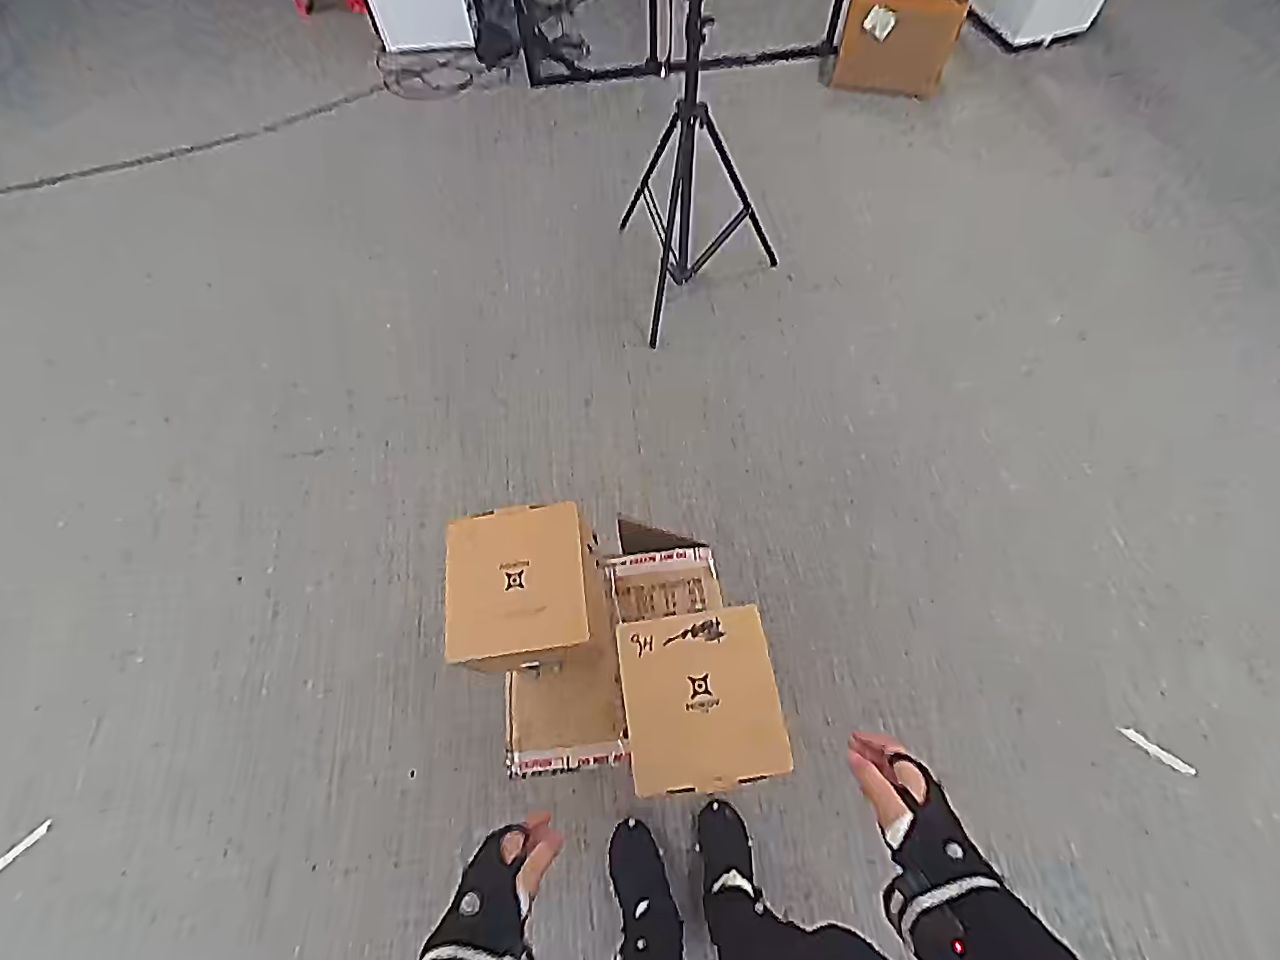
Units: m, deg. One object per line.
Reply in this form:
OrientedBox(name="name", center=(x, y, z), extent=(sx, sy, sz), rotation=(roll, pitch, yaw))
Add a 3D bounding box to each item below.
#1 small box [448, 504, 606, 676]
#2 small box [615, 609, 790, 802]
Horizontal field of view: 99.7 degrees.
OrientedBox(name="small box", center=(-0.141, 0.151, 0.713), extent=(0.168, 0.176, 0.179), rotation=(-9, 66, 0))
OrientedBox(name="small box", center=(0.065, 0.266, 0.651), extent=(0.168, 0.176, 0.179), rotation=(-8, 66, -2))
